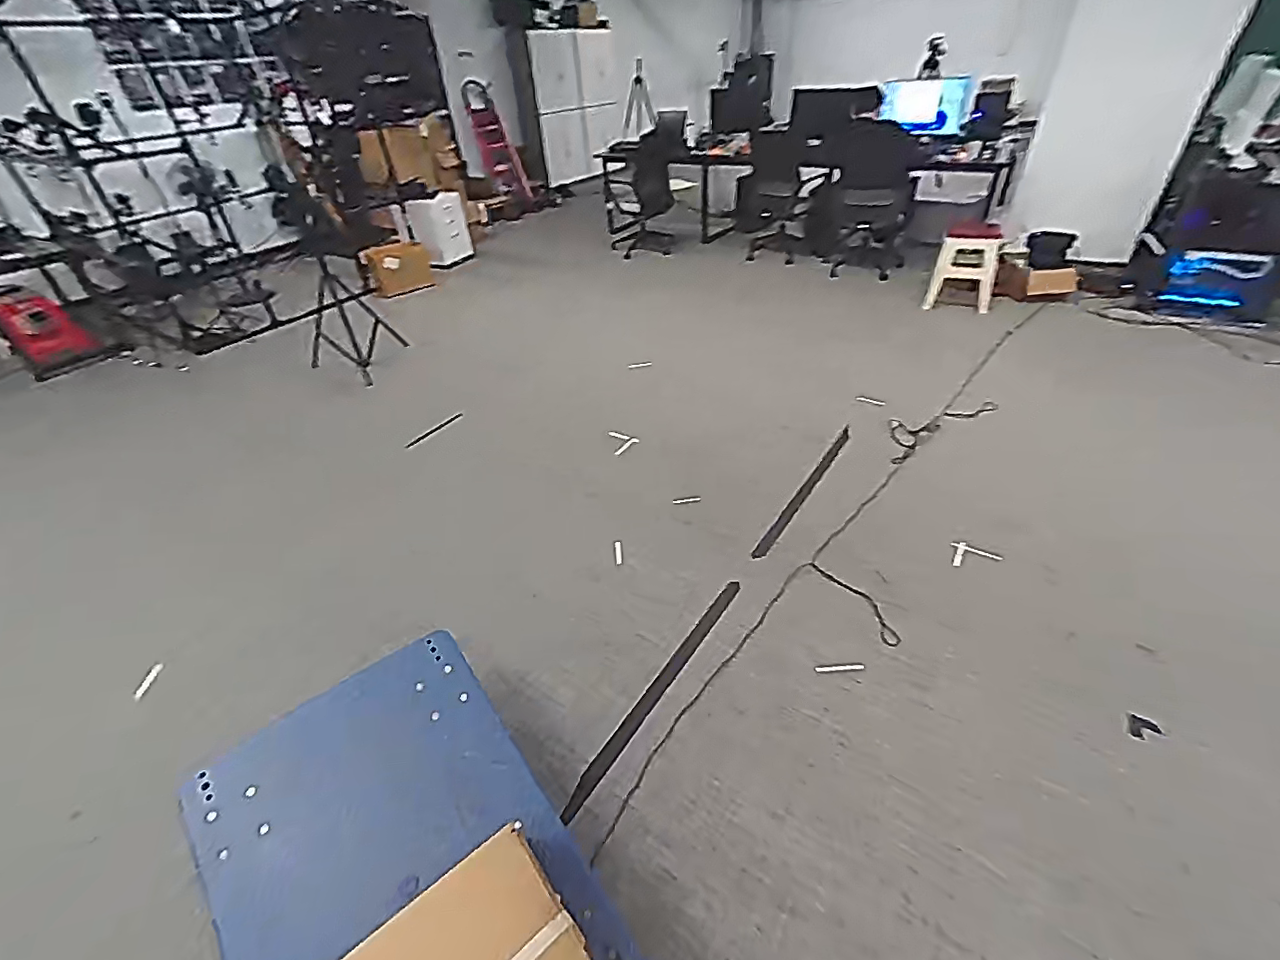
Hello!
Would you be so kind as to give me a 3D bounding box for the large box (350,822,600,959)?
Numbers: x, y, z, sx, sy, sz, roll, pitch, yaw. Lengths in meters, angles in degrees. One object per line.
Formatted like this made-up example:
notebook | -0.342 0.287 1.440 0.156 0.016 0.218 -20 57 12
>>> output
large box | -0.279 0.837 0.843 0.408 0.320 0.320 -29 64 -29
